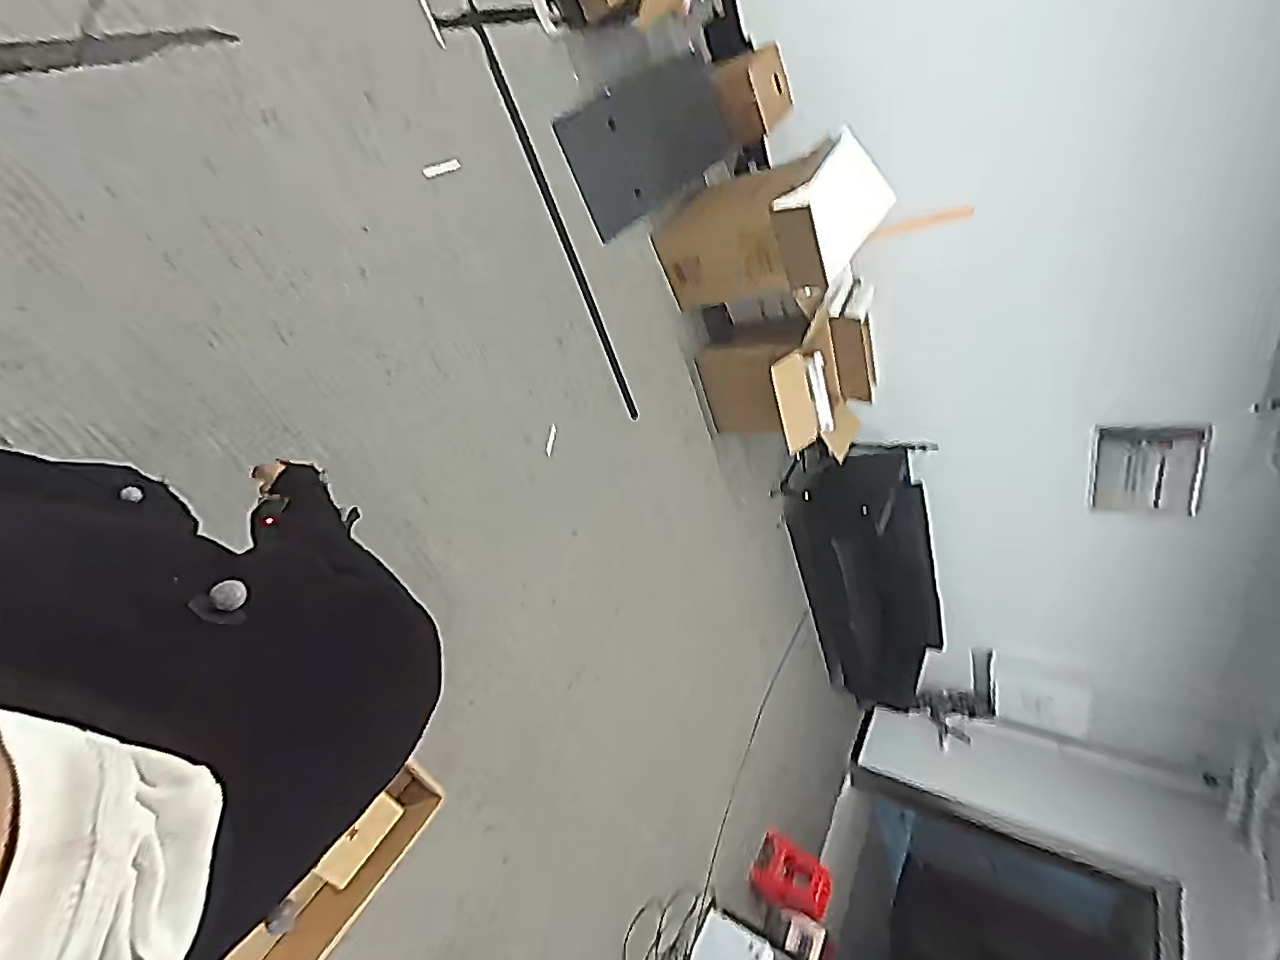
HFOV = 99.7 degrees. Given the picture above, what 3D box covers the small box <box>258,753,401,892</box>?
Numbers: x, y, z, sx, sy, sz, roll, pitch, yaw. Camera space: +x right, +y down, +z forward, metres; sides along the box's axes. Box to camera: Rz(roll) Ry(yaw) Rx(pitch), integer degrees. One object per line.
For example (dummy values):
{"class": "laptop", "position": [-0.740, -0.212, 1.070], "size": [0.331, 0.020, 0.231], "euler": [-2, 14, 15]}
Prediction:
{"class": "small box", "position": [-0.656, 0.711, 1.143], "size": [0.168, 0.176, 0.179], "euler": [-50, 130, -38]}
